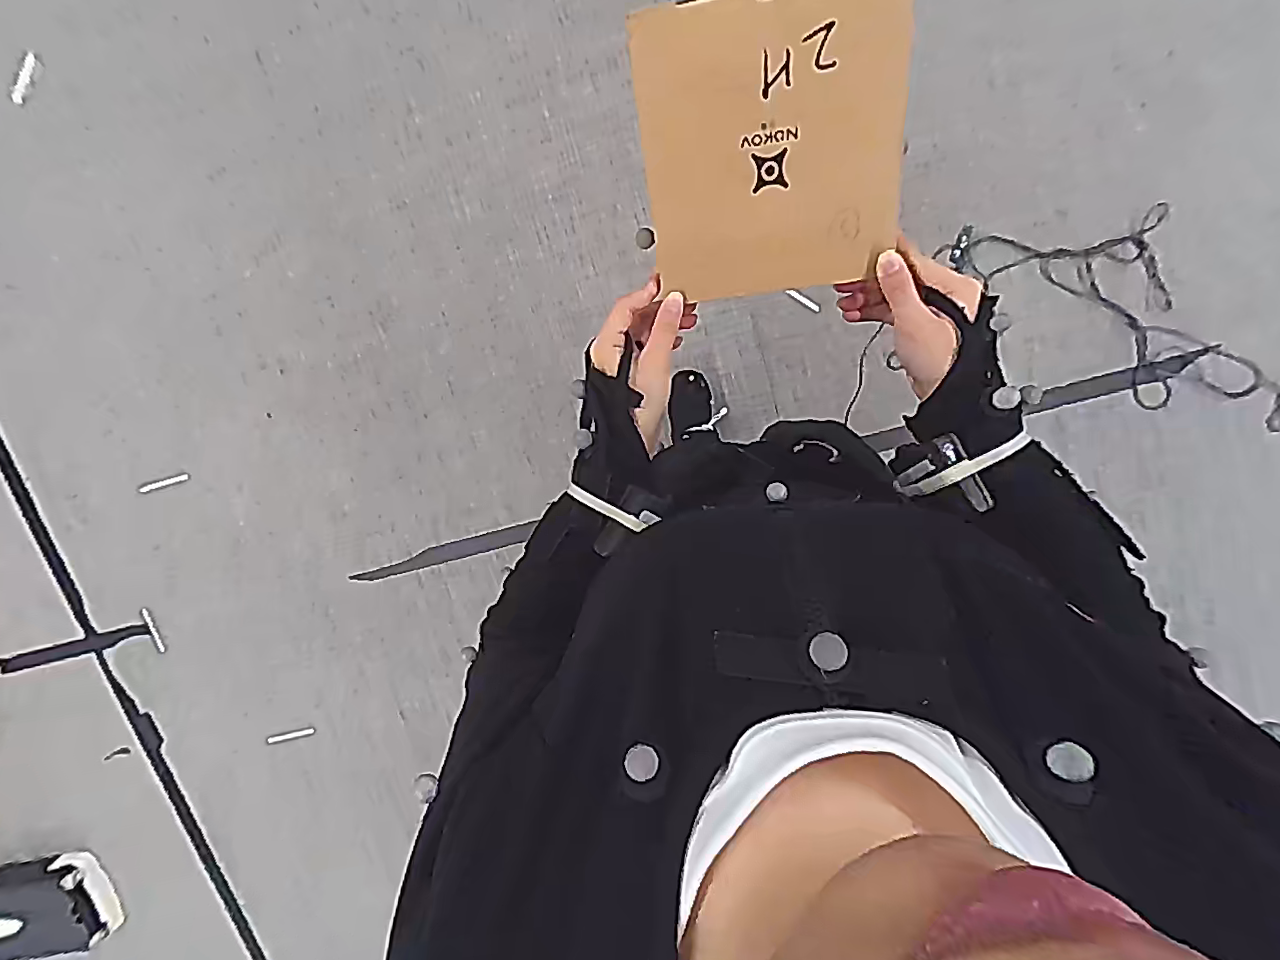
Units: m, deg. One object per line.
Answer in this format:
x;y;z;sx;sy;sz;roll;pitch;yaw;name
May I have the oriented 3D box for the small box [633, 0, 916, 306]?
0.093;-0.253;0.423;0.168;0.176;0.179;-5;121;8;small box
